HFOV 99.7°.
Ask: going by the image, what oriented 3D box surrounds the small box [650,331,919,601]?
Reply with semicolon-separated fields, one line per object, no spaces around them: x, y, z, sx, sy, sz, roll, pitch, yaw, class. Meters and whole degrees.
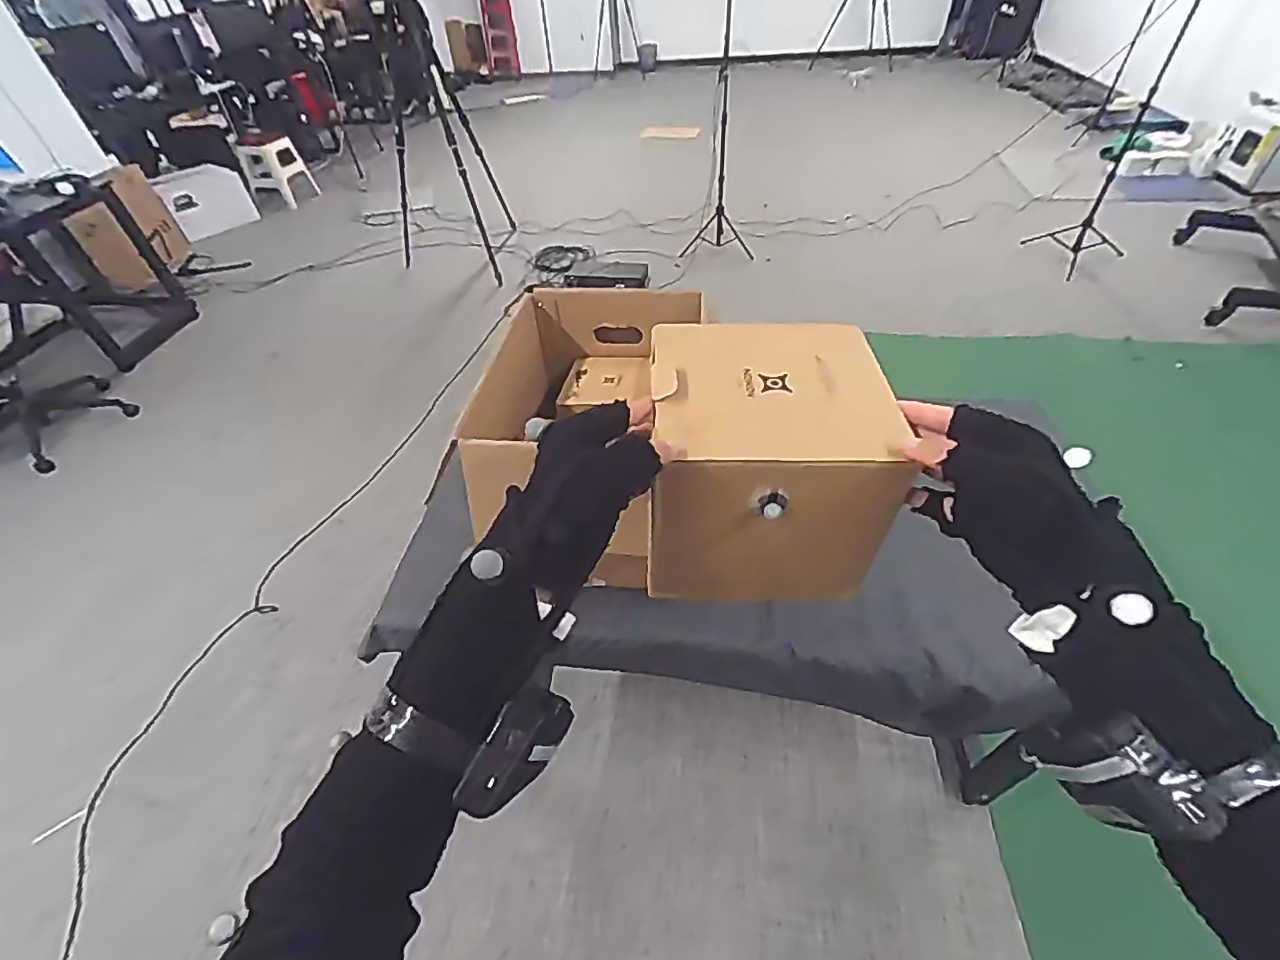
0.097;-0.010;0.463;0.179;0.176;0.168;1;47;0;small box
